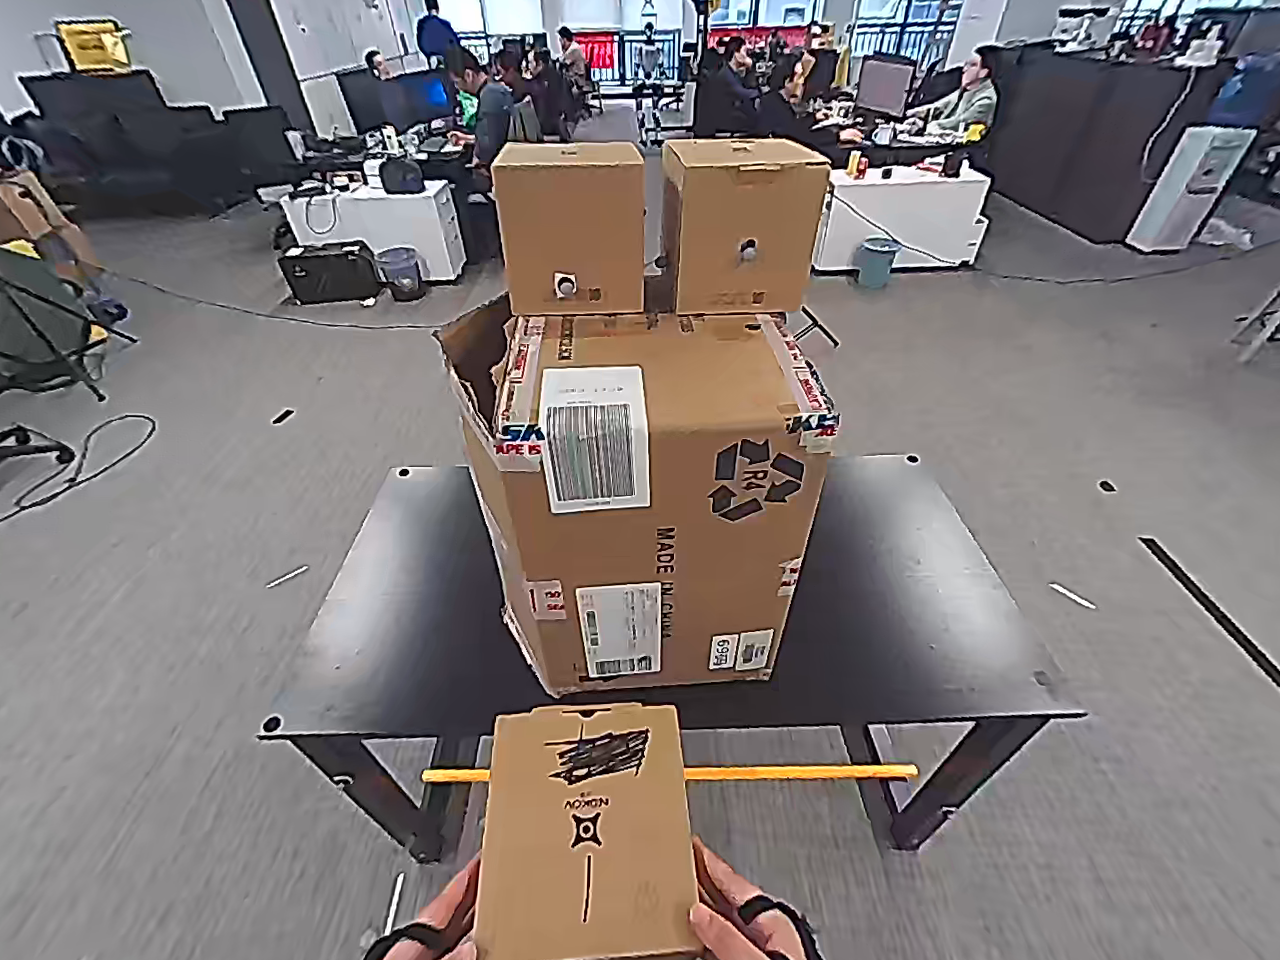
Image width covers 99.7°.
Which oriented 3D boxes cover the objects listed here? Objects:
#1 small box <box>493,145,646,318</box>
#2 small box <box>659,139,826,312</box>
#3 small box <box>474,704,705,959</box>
[{"bbox_3d":[-0.083,-0.320,0.692,0.168,0.176,0.179,-5,39,-4],"label":"small box"},{"bbox_3d":[0.116,-0.327,0.698,0.168,0.176,0.179,-2,41,-5],"label":"small box"},{"bbox_3d":[-0.042,0.330,0.492,0.168,0.176,0.179,-3,43,-4],"label":"small box"}]
